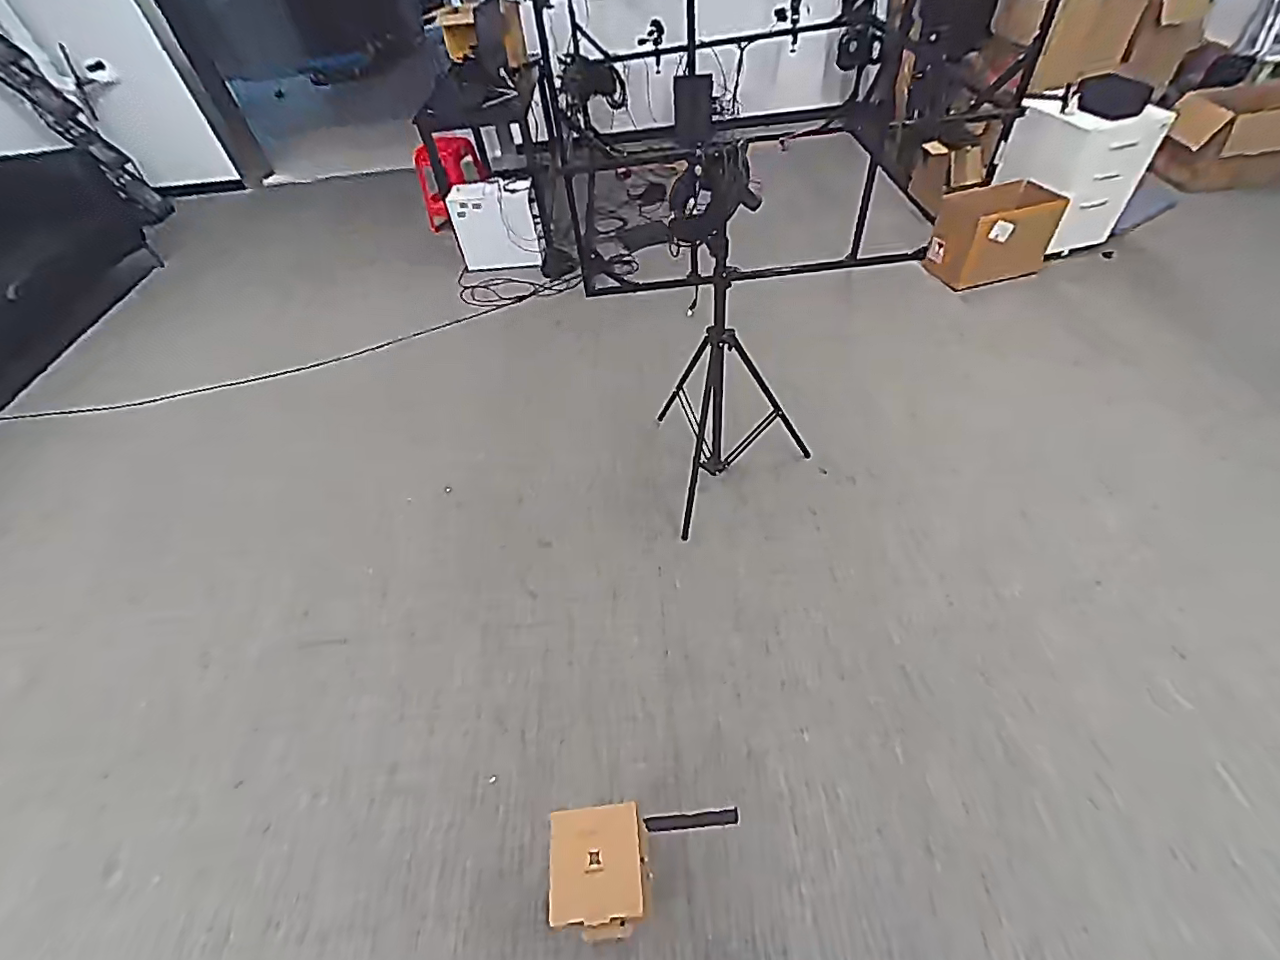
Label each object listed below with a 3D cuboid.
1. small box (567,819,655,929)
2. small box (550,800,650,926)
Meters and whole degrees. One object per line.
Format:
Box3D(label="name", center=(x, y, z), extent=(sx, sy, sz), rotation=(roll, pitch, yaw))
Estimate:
Box3D(label="small box", center=(-0.061, 0.846, 1.161), extent=(0.168, 0.176, 0.179), rotation=(-7, 48, 1))
Box3D(label="small box", center=(-0.073, 0.739, 1.039), extent=(0.168, 0.176, 0.179), rotation=(-7, 48, 0))
